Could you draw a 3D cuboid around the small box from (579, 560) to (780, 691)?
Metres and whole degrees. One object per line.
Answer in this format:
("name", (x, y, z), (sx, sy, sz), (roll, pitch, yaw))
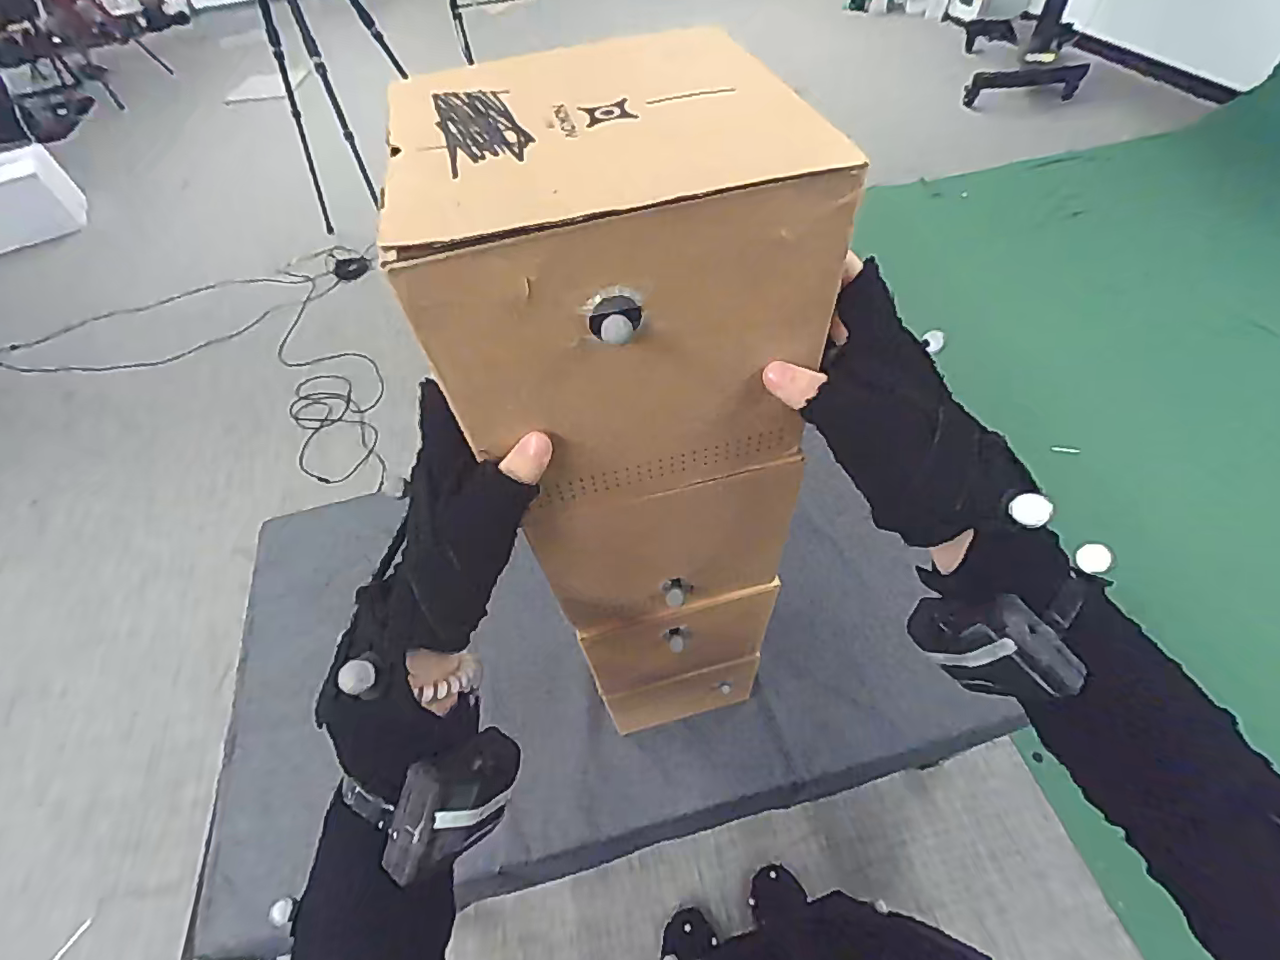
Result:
("small box", (0.023, 0.097, 0.560), (0.179, 0.176, 0.168), (-15, 53, -5))

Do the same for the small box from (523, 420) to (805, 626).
("small box", (0.006, -0.005, 0.431), (0.179, 0.176, 0.168), (-12, 52, -4))

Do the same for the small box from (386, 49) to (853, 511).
("small box", (-0.015, -0.103, 0.302), (0.179, 0.176, 0.168), (-13, 54, -5))
